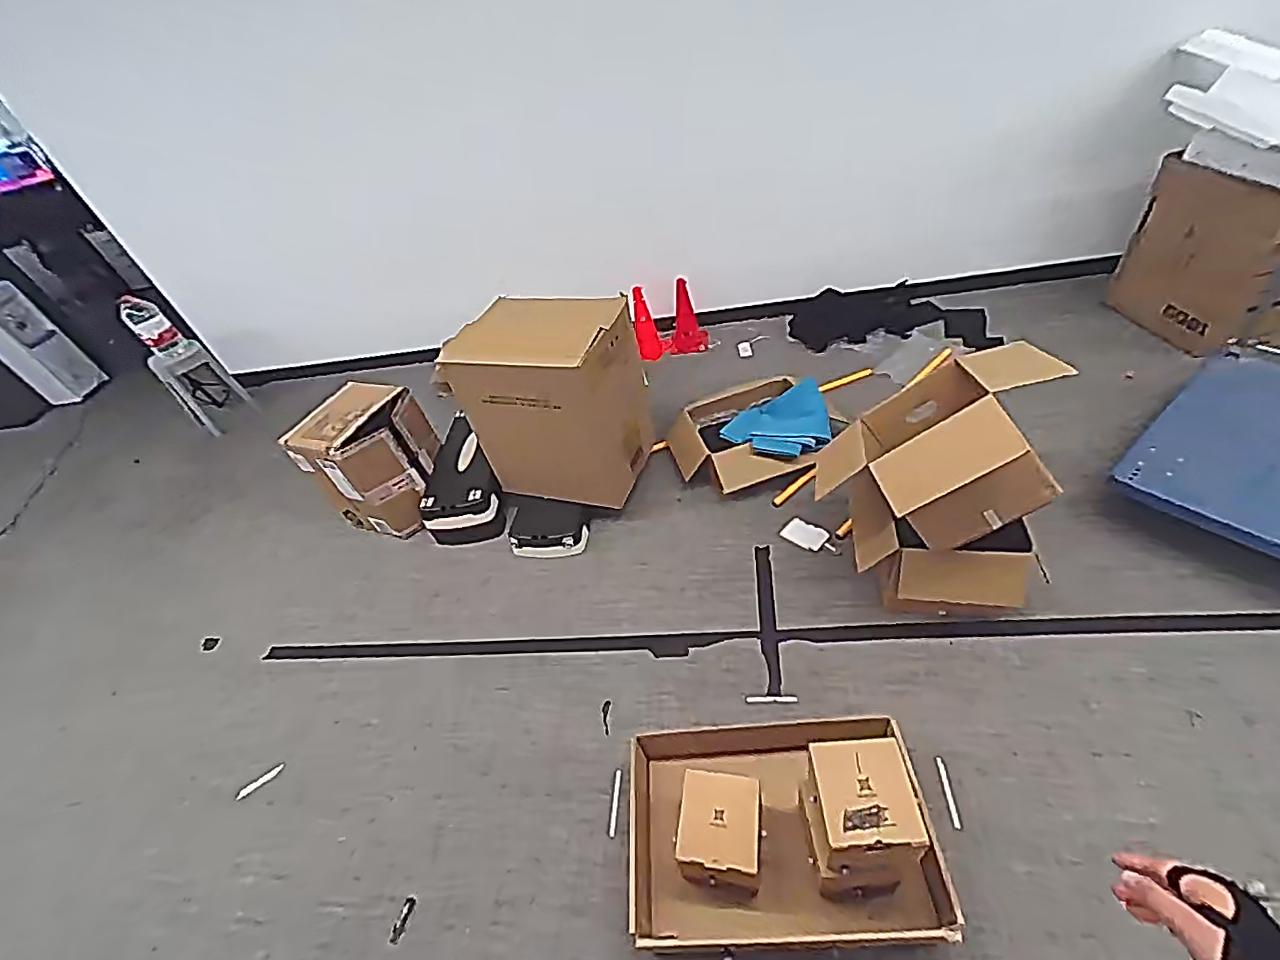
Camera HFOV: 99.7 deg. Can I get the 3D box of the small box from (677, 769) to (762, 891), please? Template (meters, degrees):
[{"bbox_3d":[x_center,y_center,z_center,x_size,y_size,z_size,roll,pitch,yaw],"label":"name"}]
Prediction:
[{"bbox_3d":[0.181,0.767,1.187,0.168,0.176,0.179,0,45,14],"label":"small box"}]

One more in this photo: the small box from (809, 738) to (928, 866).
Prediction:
[{"bbox_3d":[0.424,0.619,1.031,0.168,0.176,0.179,-8,42,8],"label":"small box"}]
